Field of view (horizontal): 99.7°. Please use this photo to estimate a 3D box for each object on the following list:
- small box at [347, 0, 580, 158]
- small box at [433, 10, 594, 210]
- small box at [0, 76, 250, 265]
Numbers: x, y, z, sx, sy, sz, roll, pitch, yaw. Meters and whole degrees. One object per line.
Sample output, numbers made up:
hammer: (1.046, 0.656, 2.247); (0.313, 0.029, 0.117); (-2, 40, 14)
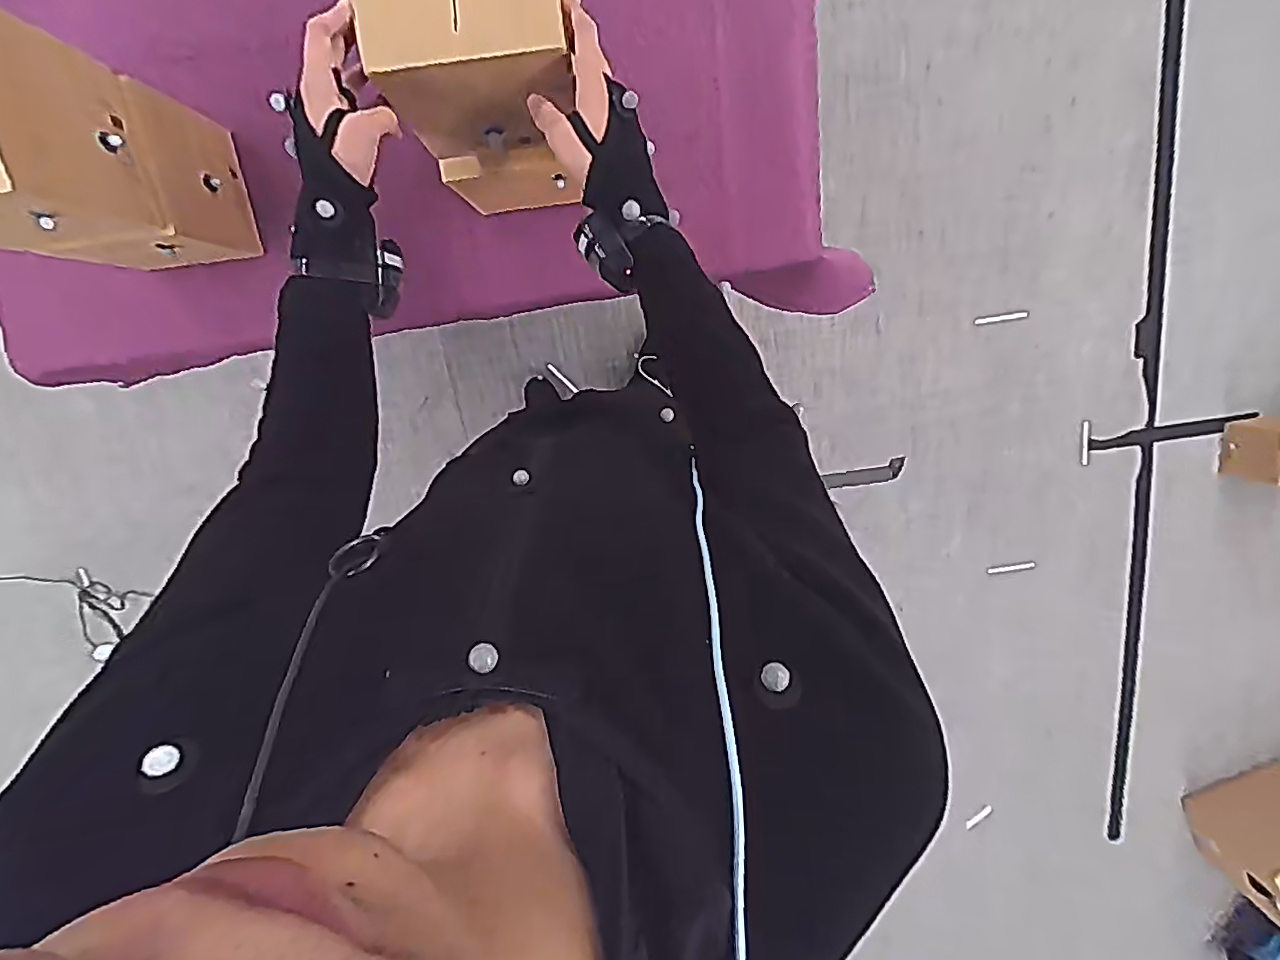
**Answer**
small box: (-0.152, -0.429, 0.493); (0.168, 0.176, 0.179); (-7, 100, 1)
small box: (-0.158, -0.455, 0.682); (0.179, 0.176, 0.168); (-8, 105, 0)
small box: (-0.640, -0.376, 0.686); (0.179, 0.176, 0.168); (-7, 105, 0)
